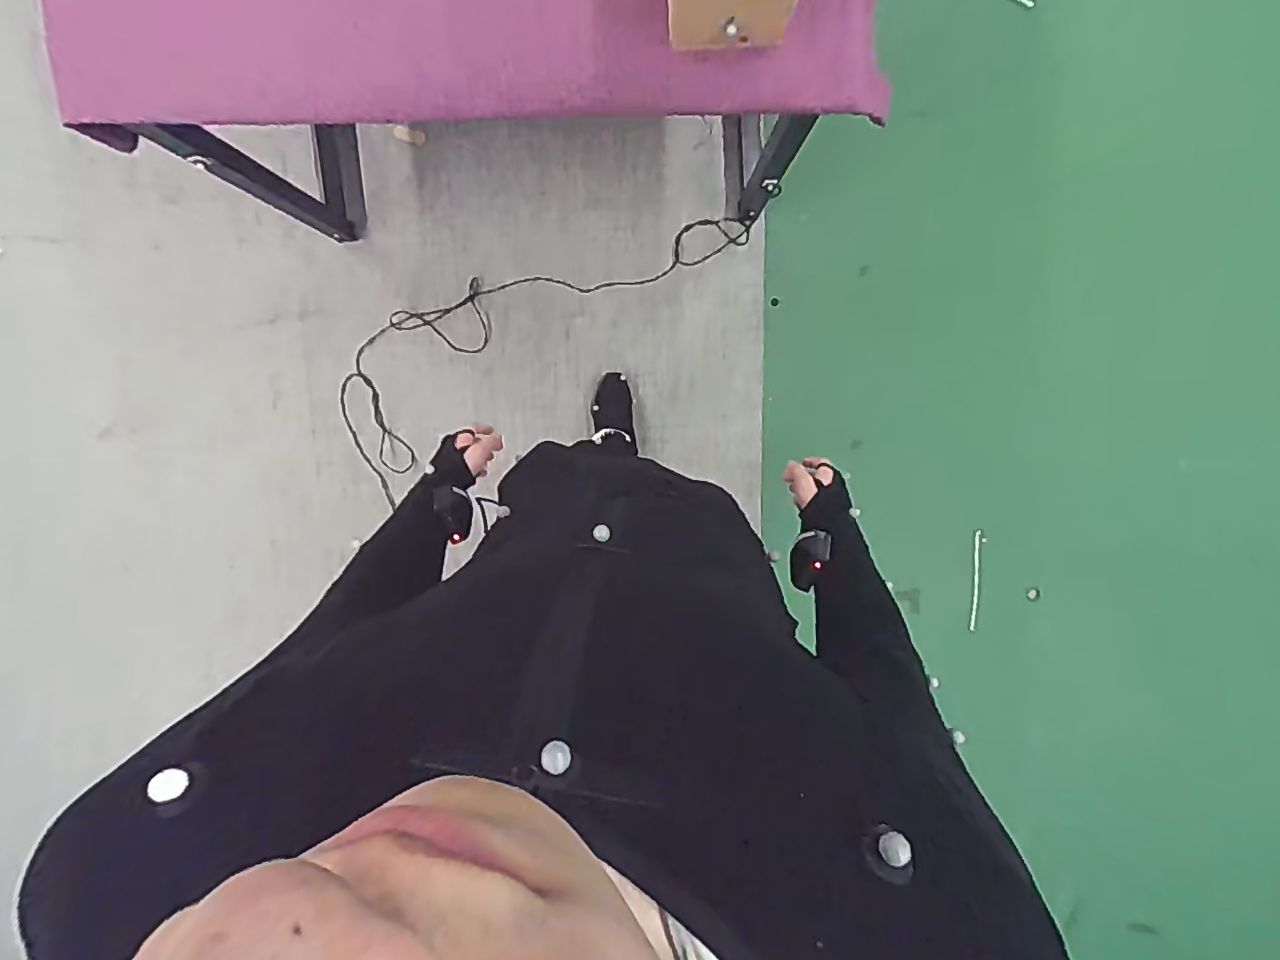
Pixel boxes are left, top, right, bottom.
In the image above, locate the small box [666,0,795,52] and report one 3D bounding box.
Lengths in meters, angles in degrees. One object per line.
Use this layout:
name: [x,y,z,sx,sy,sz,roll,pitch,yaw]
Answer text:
small box: [0.118,-0.702,0.698,0.168,0.176,0.179,-3,99,1]
